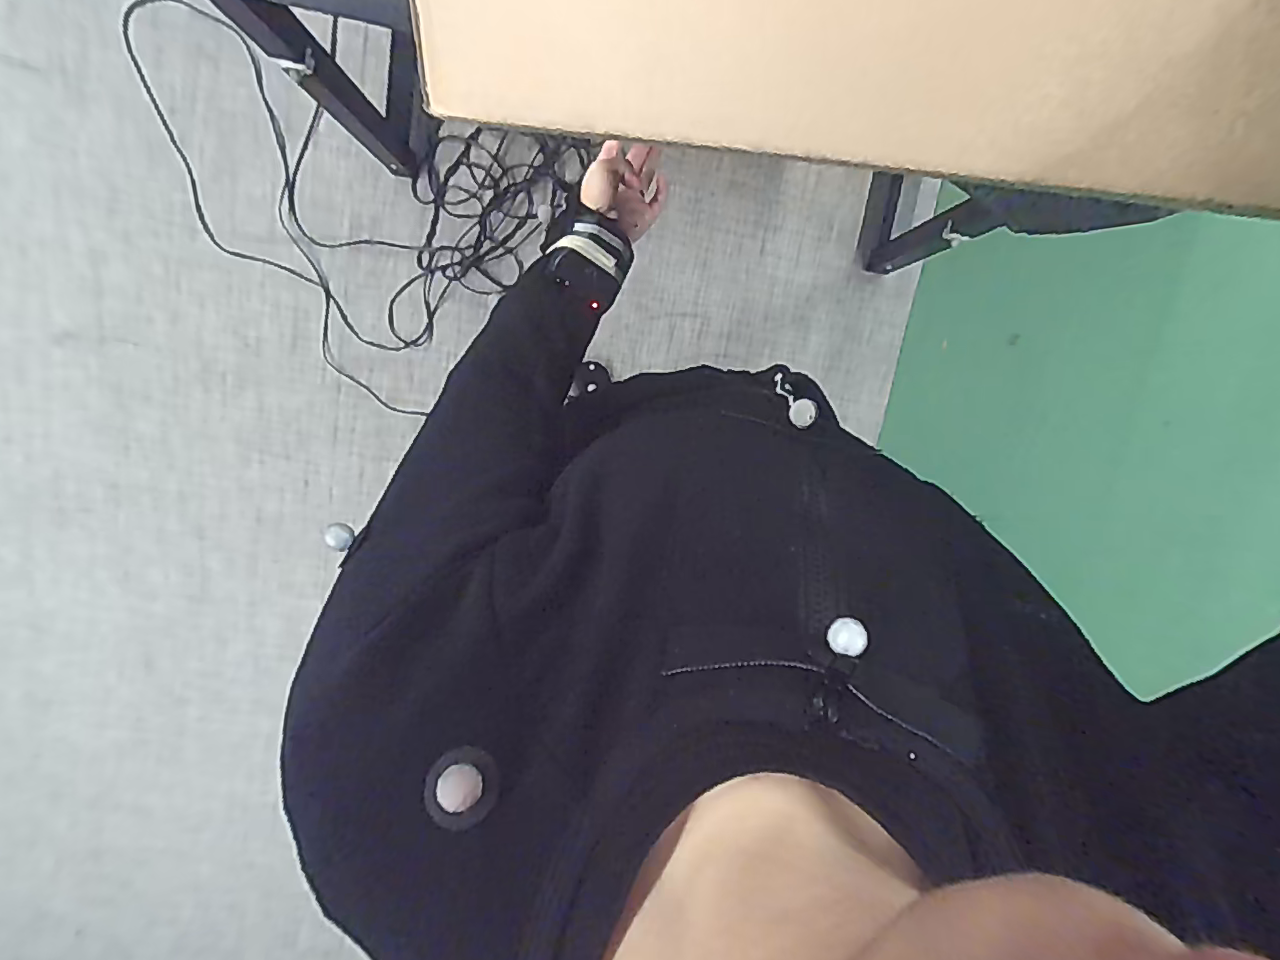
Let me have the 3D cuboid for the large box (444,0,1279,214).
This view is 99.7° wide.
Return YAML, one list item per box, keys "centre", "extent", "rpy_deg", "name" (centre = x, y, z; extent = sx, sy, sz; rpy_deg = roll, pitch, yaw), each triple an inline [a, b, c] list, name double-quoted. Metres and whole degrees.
- centre: [0.142, -0.341, 0.280]
  extent: [0.408, 0.320, 0.320]
  rpy_deg: [12, 124, 12]
  name: "large box"
